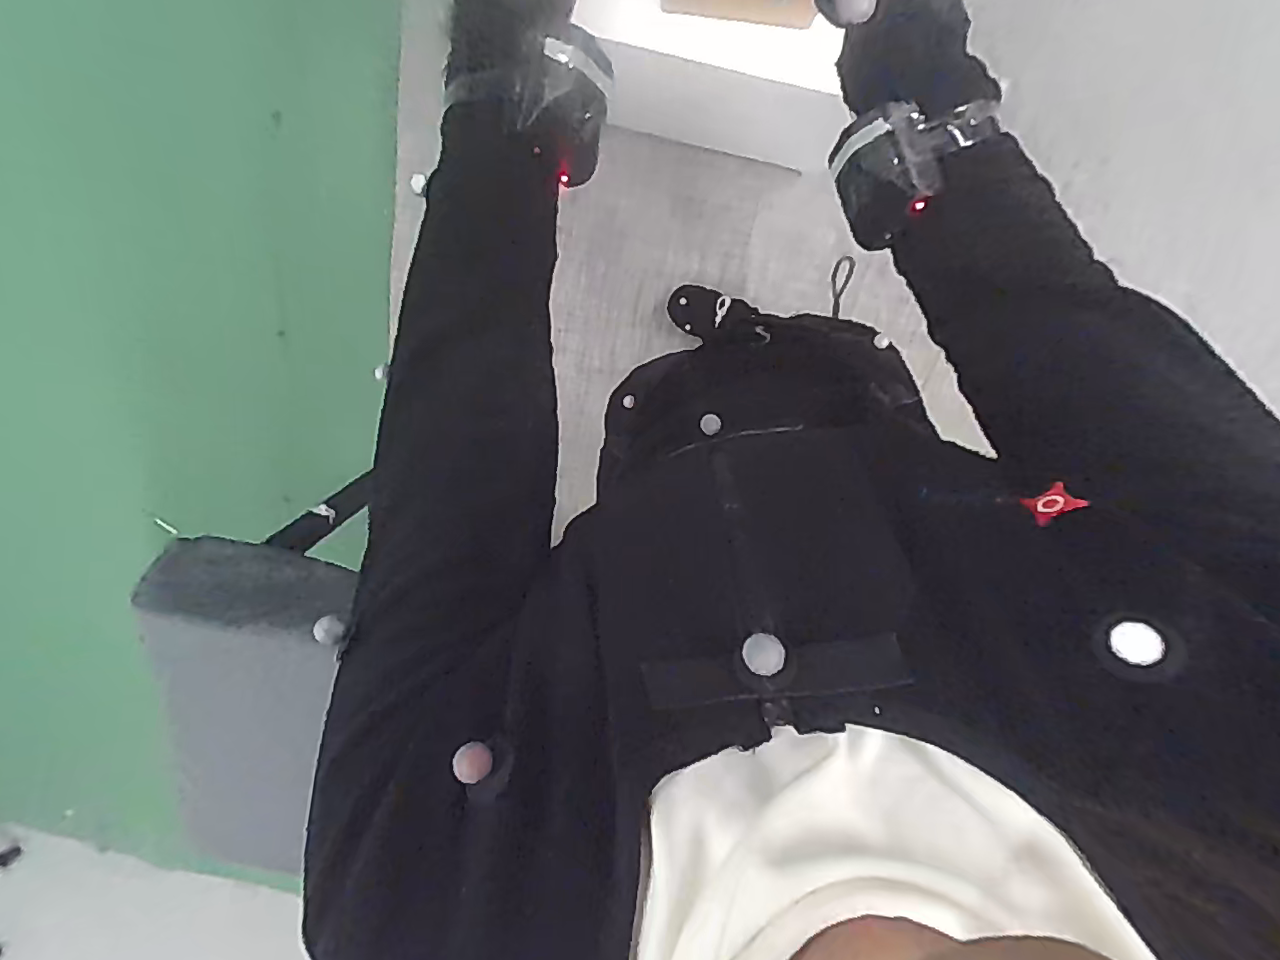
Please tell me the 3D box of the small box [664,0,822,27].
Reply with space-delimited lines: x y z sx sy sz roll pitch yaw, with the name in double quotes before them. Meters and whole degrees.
"small box" 0.112 -0.564 0.510 0.179 0.176 0.168 9 112 4
